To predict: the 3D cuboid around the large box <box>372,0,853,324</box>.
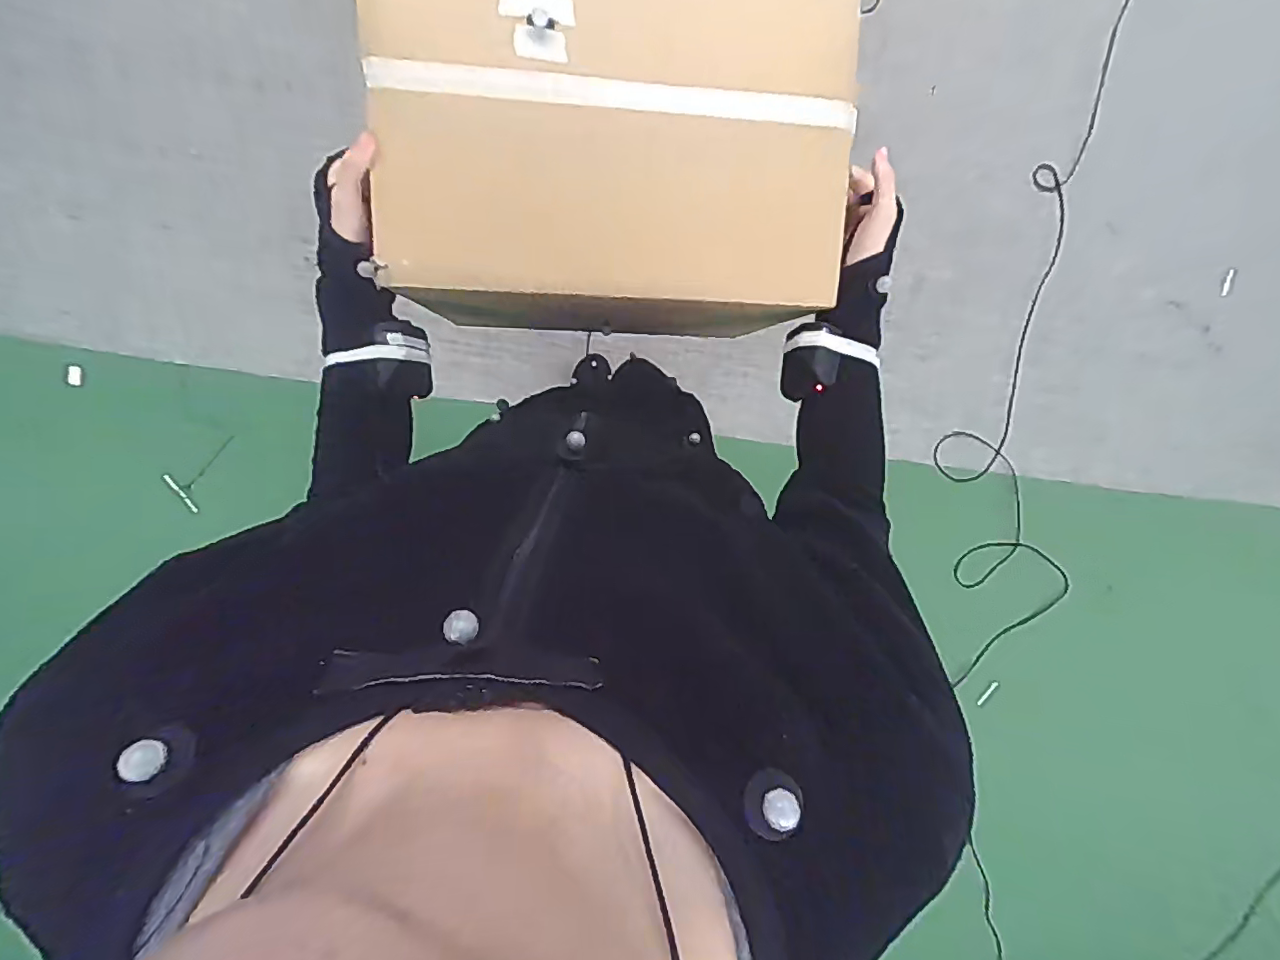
[{"bbox_3d":[-0.031,-0.348,0.603,0.408,0.320,0.320,0,100,-7],"label":"large box"}]
